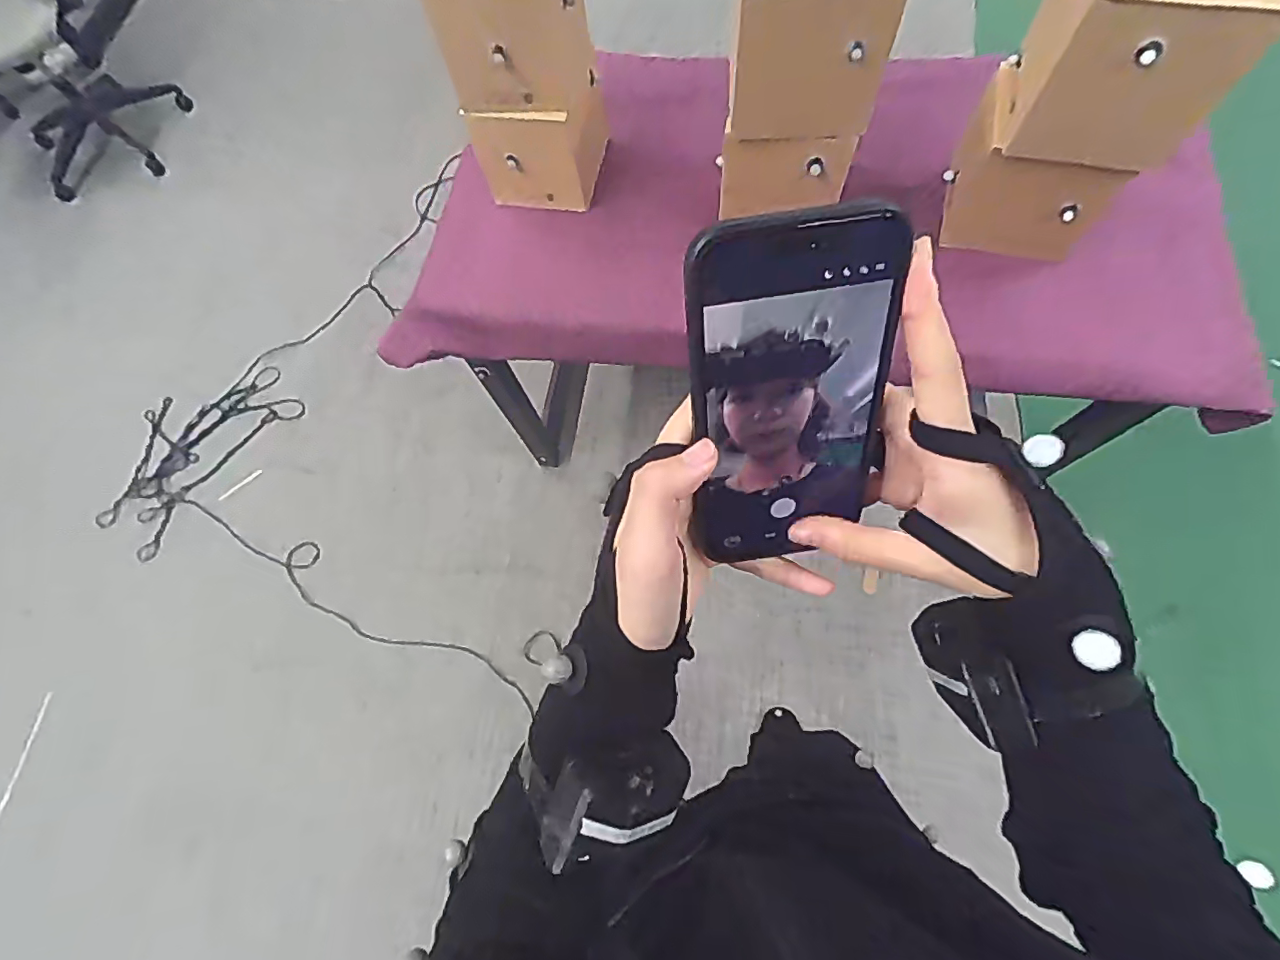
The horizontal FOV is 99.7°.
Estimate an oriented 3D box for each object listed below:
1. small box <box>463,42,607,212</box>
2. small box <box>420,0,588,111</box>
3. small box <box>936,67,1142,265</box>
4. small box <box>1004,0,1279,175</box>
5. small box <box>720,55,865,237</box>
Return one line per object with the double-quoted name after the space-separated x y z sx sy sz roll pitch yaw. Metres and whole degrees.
-0.157 -0.569 0.882 0.168 0.176 0.179 9 71 9 "small box"
-0.171 -0.634 0.731 0.168 0.176 0.179 4 71 6 "small box"
0.551 -0.432 0.760 0.179 0.176 0.168 14 71 11 "small box"
0.541 -0.474 0.602 0.179 0.176 0.168 14 71 10 "small box"
0.221 -0.494 0.815 0.179 0.176 0.168 8 70 9 "small box"
